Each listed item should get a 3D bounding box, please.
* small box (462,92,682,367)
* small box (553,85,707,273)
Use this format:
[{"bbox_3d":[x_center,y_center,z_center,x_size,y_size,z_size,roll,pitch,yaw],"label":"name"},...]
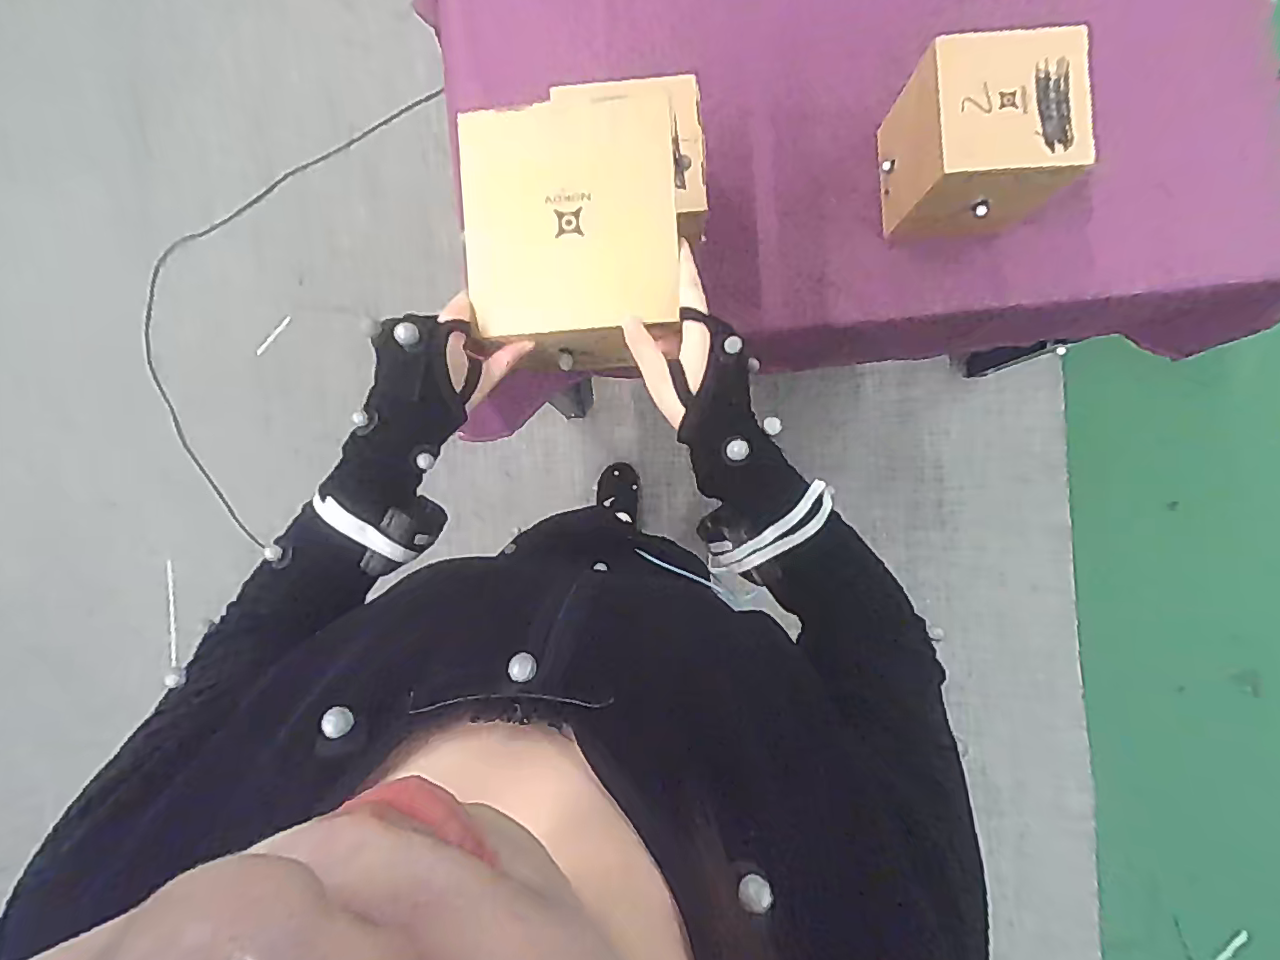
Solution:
[{"bbox_3d":[-0.047,-0.204,0.495,0.168,0.176,0.179,-4,90,4],"label":"small box"},{"bbox_3d":[-0.011,-0.377,0.716,0.179,0.176,0.168,-4,88,1],"label":"small box"}]
